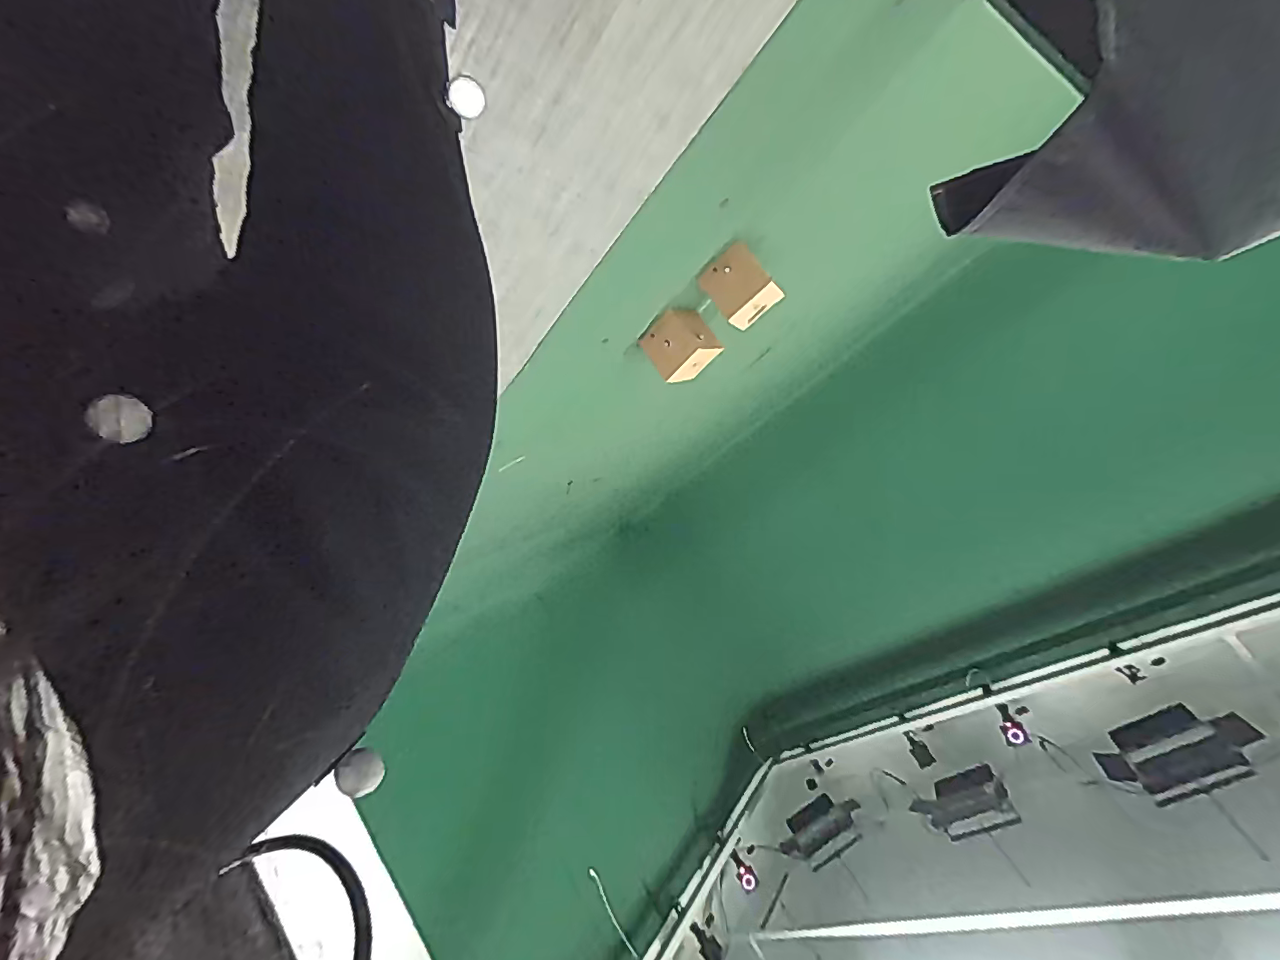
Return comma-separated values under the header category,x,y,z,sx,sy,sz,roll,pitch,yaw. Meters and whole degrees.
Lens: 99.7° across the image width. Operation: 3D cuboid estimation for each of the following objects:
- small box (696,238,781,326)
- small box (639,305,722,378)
category,x,y,z,sx,sy,sz,roll,pitch,yaw
small box,0.300,-0.599,1.642,0.168,0.176,0.179,-39,168,24
small box,0.130,-0.455,1.773,0.168,0.176,0.179,-40,169,36
